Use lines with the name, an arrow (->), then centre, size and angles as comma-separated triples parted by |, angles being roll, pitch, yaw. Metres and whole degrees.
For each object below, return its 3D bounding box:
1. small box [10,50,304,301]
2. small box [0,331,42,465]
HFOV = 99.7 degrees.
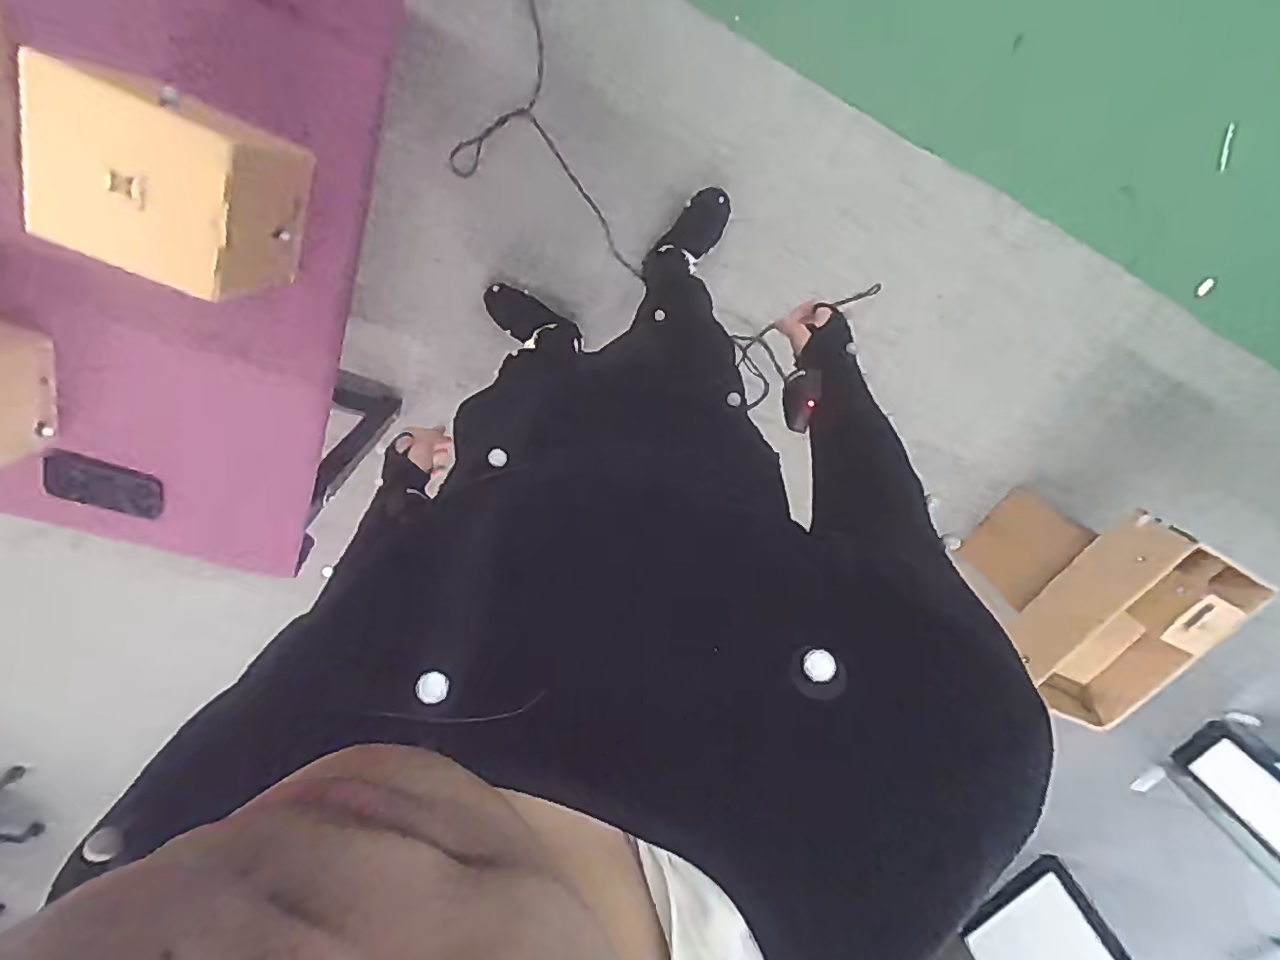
small box -> -0.513, -0.319, 0.596 | 0.179, 0.176, 0.168 | 20, 114, -14
small box -> -0.903, -0.106, 0.666 | 0.179, 0.176, 0.168 | 18, 114, -14
